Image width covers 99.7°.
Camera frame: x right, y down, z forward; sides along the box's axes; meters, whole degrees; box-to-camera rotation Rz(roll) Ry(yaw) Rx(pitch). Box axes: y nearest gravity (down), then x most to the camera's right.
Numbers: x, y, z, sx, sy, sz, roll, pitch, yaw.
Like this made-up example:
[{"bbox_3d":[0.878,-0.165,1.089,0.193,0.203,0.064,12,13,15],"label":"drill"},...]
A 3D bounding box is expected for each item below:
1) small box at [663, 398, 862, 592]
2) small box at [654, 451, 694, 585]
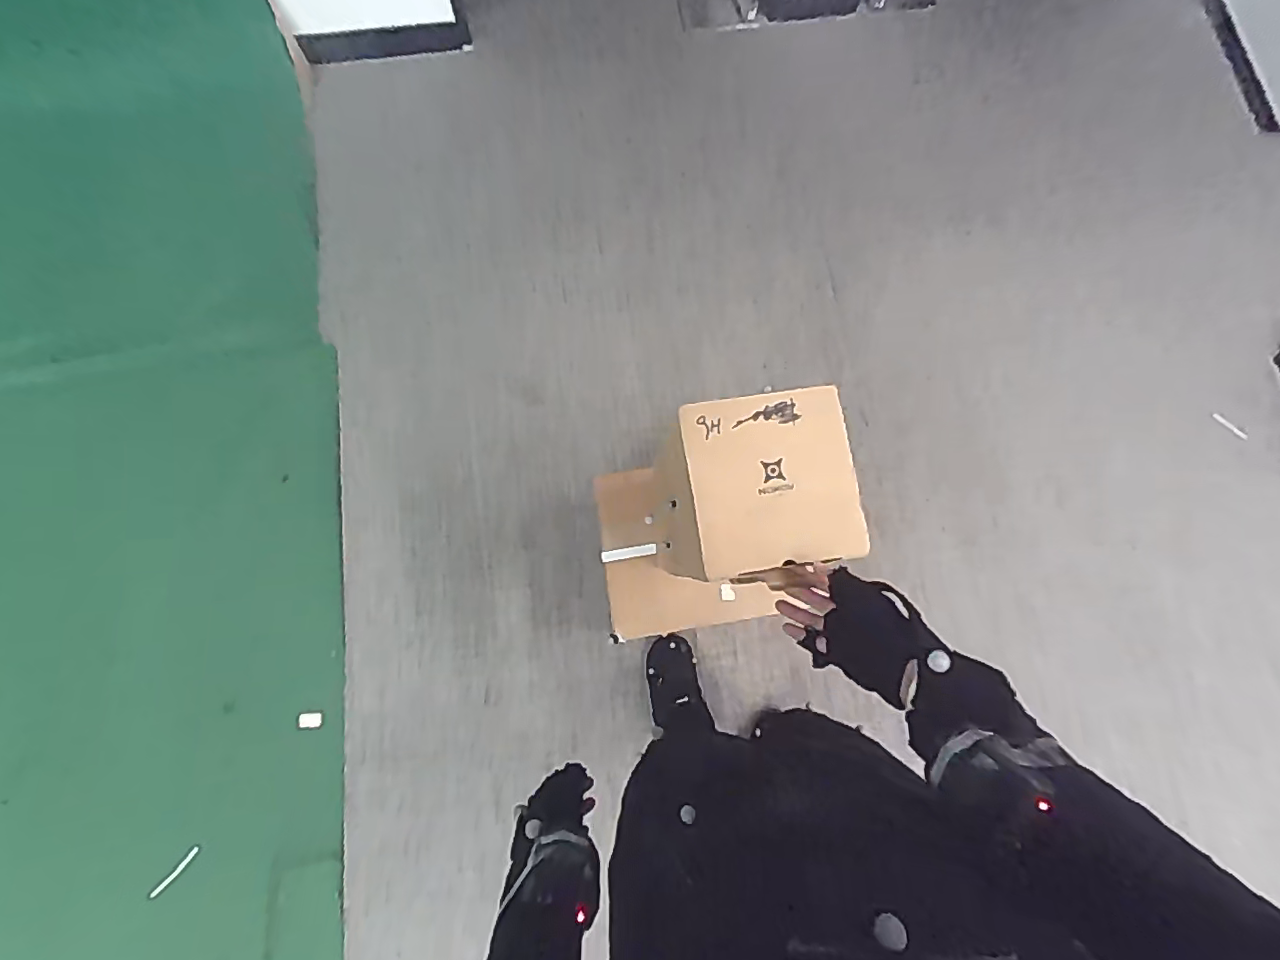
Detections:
[{"bbox_3d":[0.123,0.021,0.614,0.168,0.176,0.179,-9,83,-4],"label":"small box"},{"bbox_3d":[0.115,0.049,0.775,0.168,0.176,0.179,-8,81,-4],"label":"small box"}]
